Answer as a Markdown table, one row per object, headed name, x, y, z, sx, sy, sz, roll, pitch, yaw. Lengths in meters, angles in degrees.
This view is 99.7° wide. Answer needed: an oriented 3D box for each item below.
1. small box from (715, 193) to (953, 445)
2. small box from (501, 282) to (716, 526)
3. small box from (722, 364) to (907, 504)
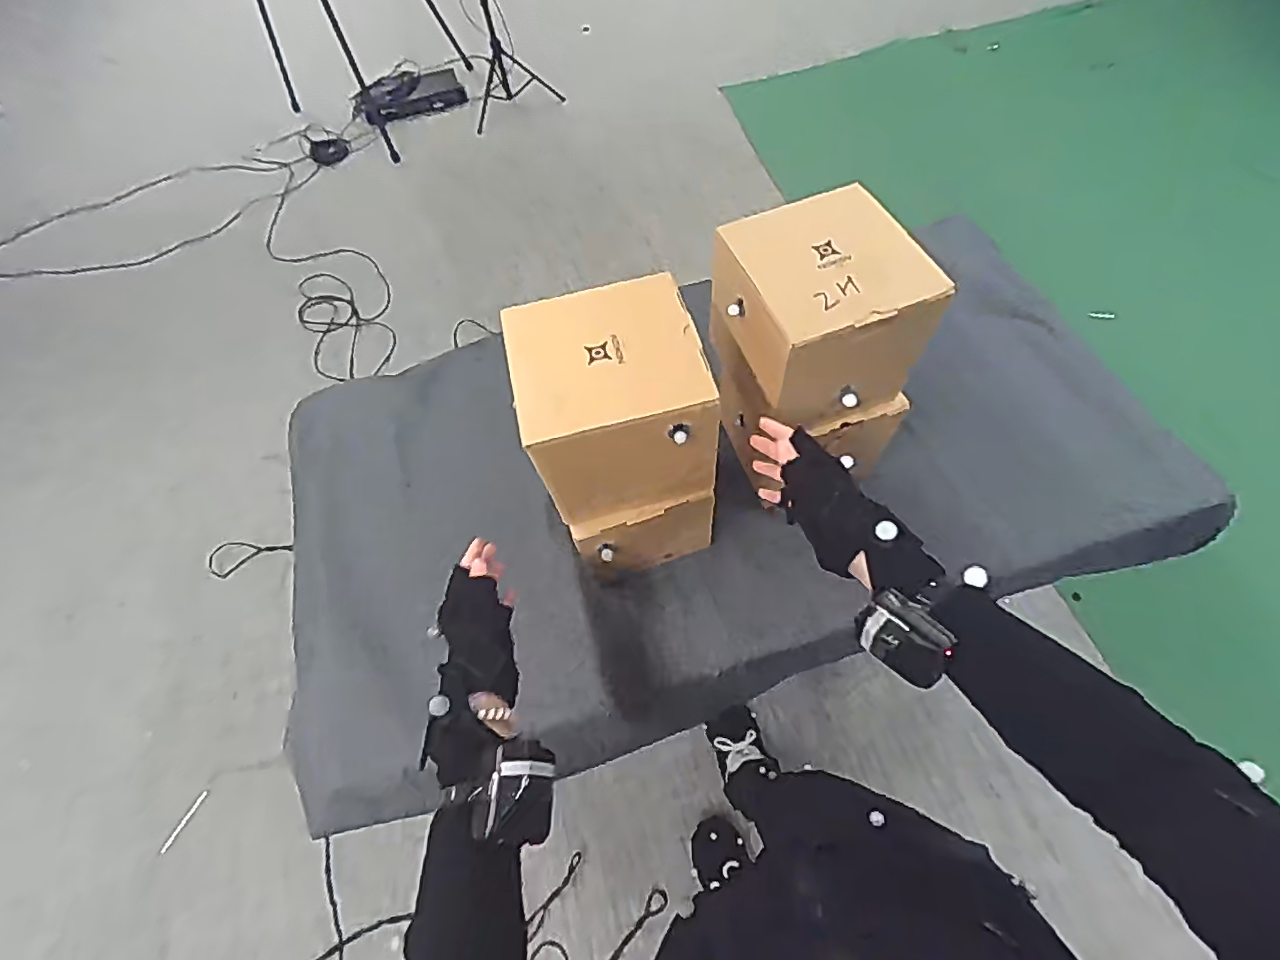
| name | x | y | z | sx | sy | sz | roll | pitch | yaw |
| --- | --- | --- | --- | --- | --- | --- | --- | --- | --- |
| small box | 0.188 | -0.169 | 0.593 | 0.168 | 0.176 | 0.179 | -20 | 63 | -4 |
| small box | -0.028 | -0.069 | 0.562 | 0.179 | 0.176 | 0.168 | -14 | 61 | -3 |
| small box | 0.218 | -0.084 | 0.731 | 0.168 | 0.176 | 0.179 | -18 | 61 | -4 |
